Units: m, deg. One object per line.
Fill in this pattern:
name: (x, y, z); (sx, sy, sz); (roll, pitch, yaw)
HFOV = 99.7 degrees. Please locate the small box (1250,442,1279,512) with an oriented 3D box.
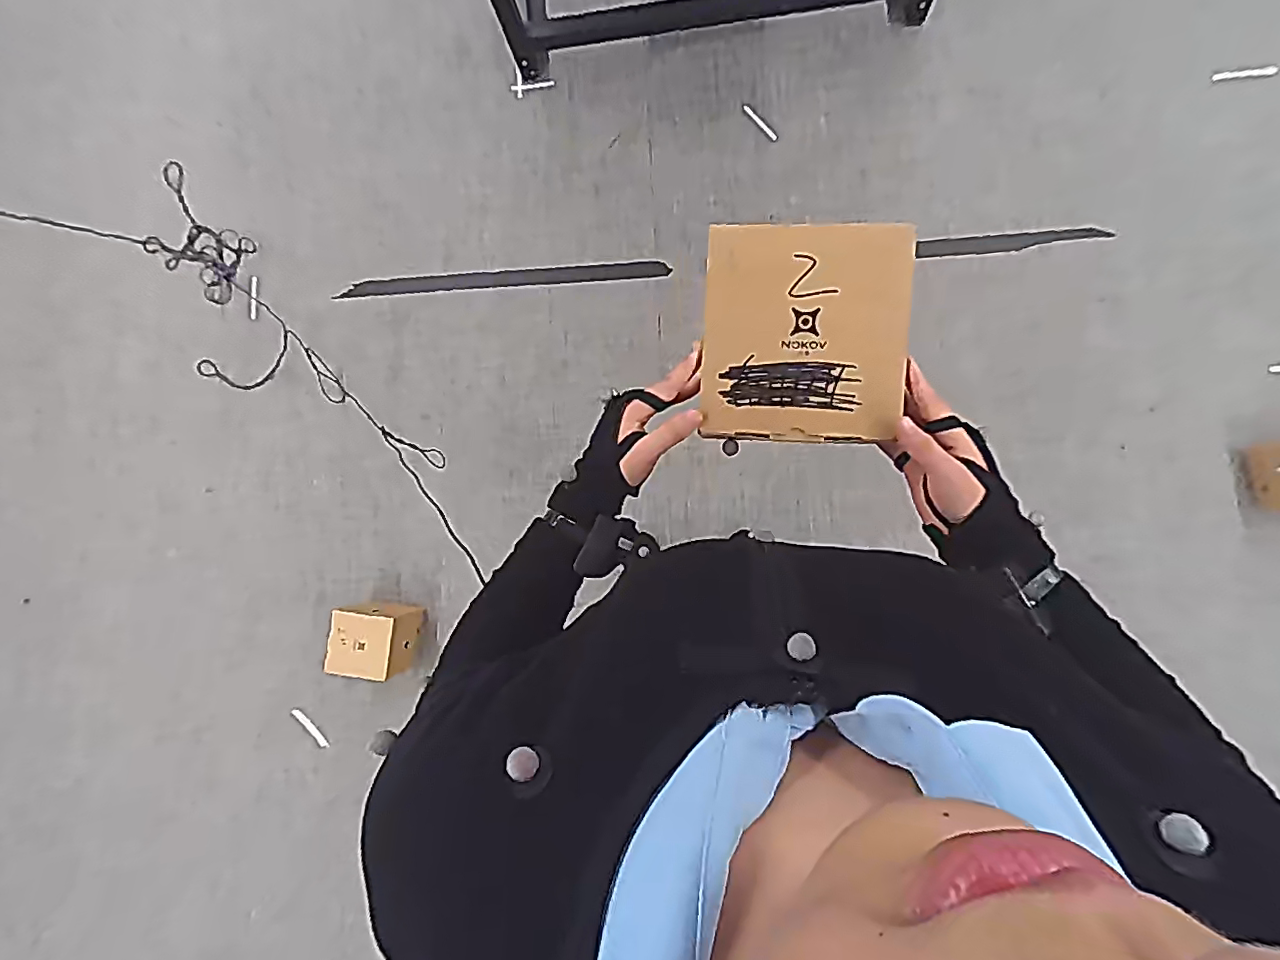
small box: (1.623, -0.019, 1.281); (0.179, 0.176, 0.168); (-10, 85, 5)

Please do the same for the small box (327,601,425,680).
small box: (-0.720, 0.436, 1.493); (0.179, 0.176, 0.168); (6, 86, 7)
